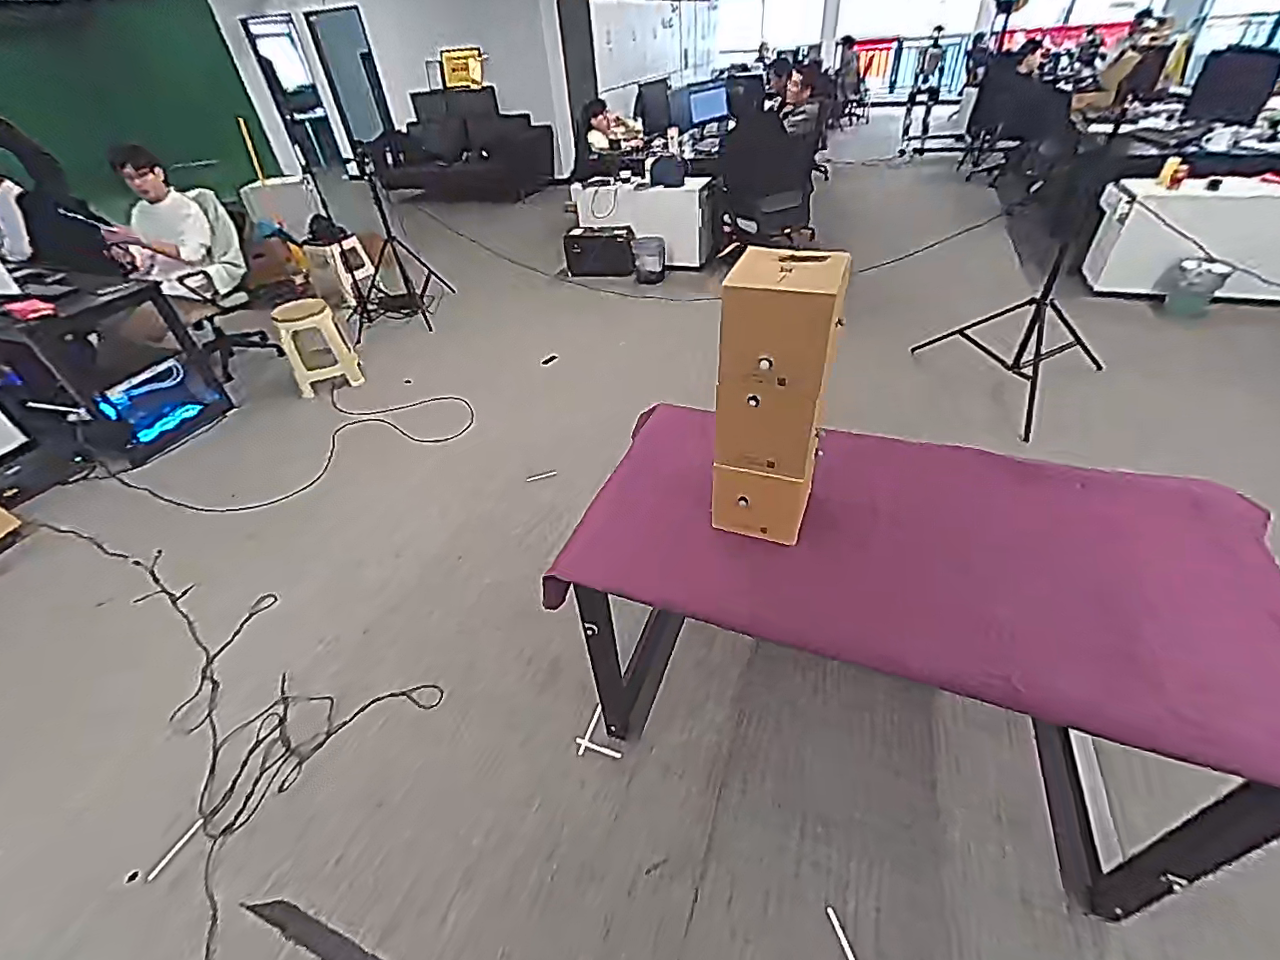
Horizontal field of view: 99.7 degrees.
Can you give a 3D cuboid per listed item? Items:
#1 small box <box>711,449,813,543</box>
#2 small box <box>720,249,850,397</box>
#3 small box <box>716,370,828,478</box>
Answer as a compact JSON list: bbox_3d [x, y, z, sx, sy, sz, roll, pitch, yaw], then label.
[{"bbox_3d":[0.246,0.000,1.078,0.168,0.176,0.179,12,42,20],"label":"small box"},{"bbox_3d":[0.229,-0.256,0.872,0.168,0.176,0.179,12,43,20],"label":"small box"},{"bbox_3d":[0.237,-0.131,0.979,0.168,0.176,0.179,11,41,19],"label":"small box"}]
